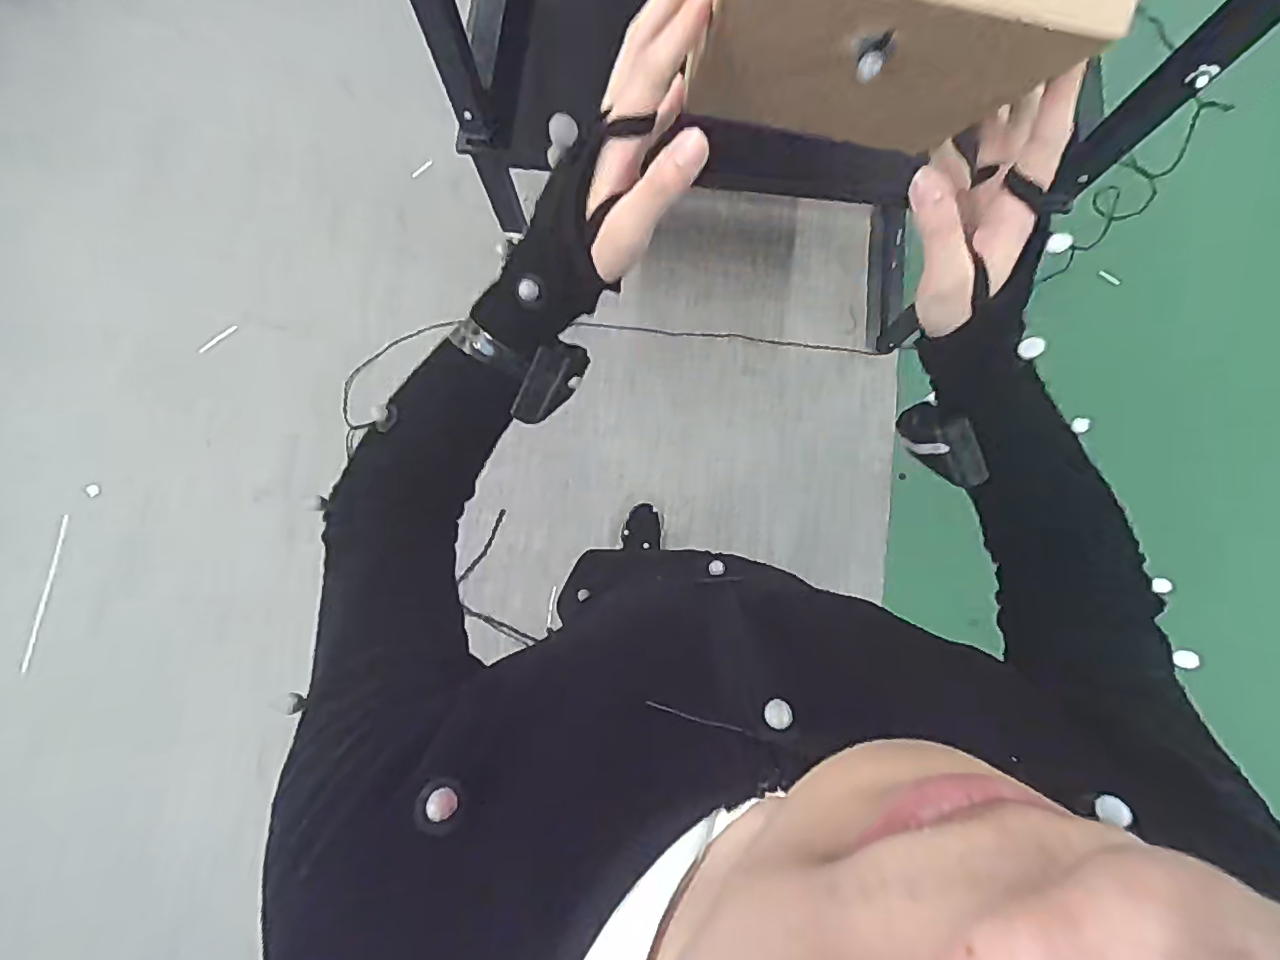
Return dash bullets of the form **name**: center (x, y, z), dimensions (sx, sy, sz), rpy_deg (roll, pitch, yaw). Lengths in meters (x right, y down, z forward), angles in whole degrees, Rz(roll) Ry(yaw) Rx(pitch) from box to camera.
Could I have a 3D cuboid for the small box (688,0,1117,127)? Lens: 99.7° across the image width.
- **small box**: center (0.126, -0.302, 0.264), dimensions (0.179, 0.176, 0.168), rpy_deg (9, 107, -4)
